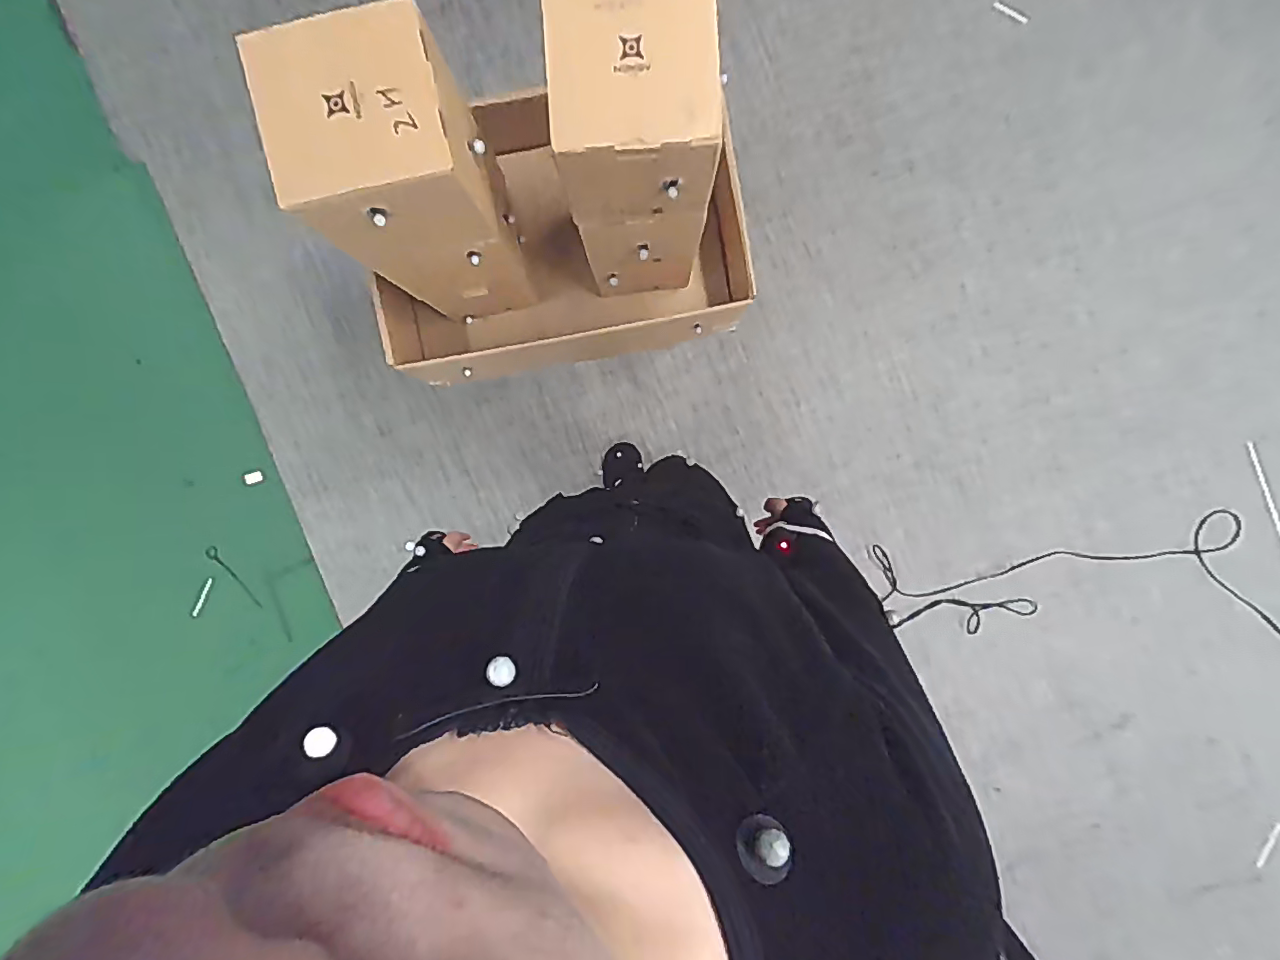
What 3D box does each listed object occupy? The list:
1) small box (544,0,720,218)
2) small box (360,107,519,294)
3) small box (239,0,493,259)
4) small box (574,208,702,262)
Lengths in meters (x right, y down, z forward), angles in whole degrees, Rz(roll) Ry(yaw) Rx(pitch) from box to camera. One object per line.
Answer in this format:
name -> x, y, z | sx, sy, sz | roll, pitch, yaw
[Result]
small box -> -0.006, -0.403, 0.591 | 0.168, 0.176, 0.179 | -3, 93, 0
small box -> -0.285, -0.375, 0.759 | 0.179, 0.176, 0.168 | -11, 94, -1
small box -> -0.281, -0.363, 0.595 | 0.179, 0.176, 0.168 | -12, 94, -1
small box -> -0.006, -0.415, 0.753 | 0.168, 0.176, 0.179 | -4, 95, -1
